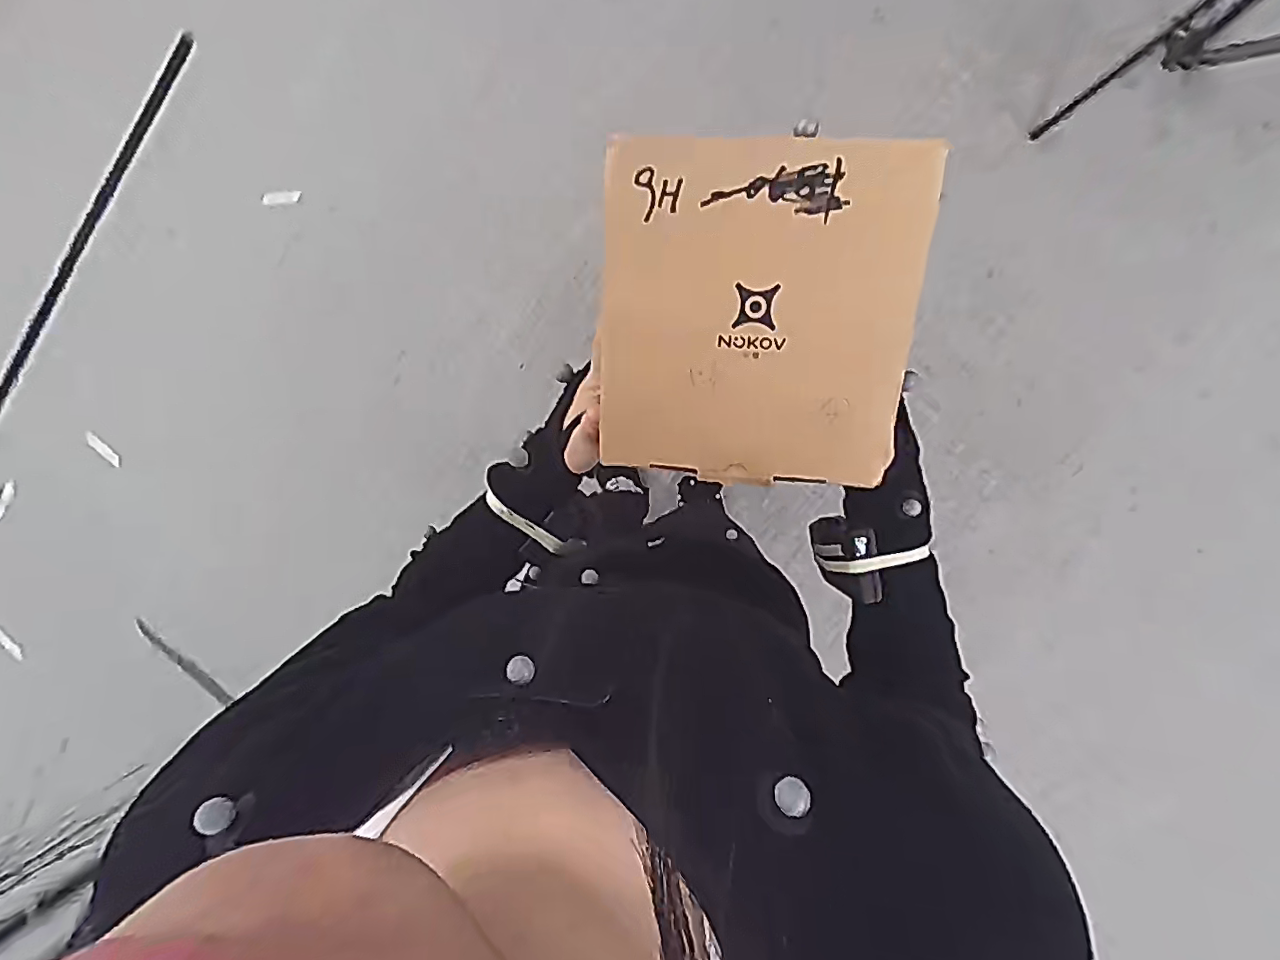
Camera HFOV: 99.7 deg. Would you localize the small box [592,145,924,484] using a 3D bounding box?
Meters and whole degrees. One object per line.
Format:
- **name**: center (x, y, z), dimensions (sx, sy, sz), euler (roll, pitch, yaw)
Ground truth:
- **small box**: center (0.063, -0.112, 0.372), dimensions (0.168, 0.176, 0.179), euler (3, 111, 5)
